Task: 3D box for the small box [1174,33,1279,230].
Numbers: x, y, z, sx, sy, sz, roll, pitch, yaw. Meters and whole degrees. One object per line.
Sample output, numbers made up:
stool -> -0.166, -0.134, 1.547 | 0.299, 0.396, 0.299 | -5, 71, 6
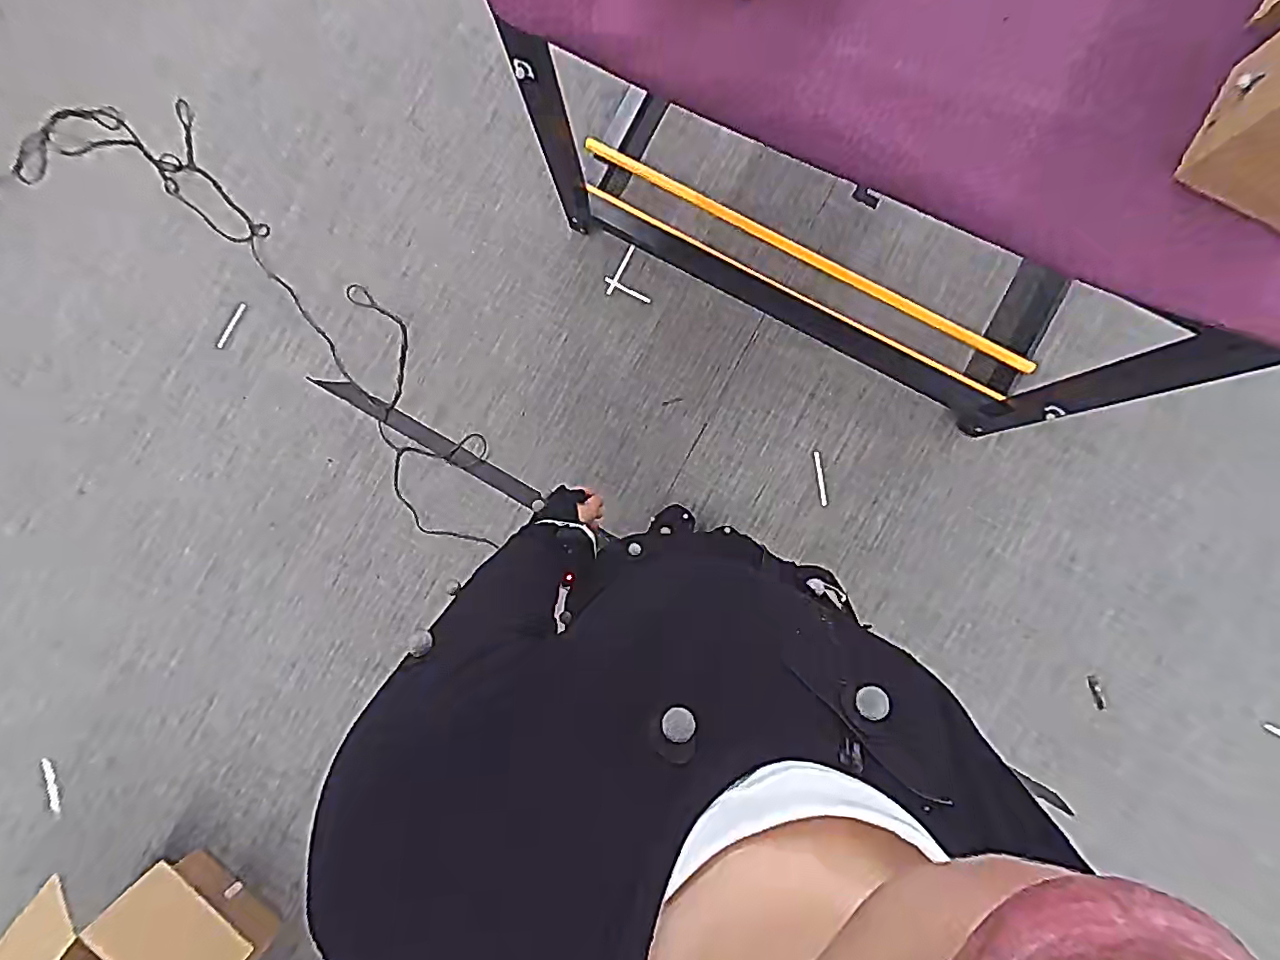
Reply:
small box -> 0.747, -0.396, 0.566 | 0.179, 0.176, 0.168 | 31, 88, 4
